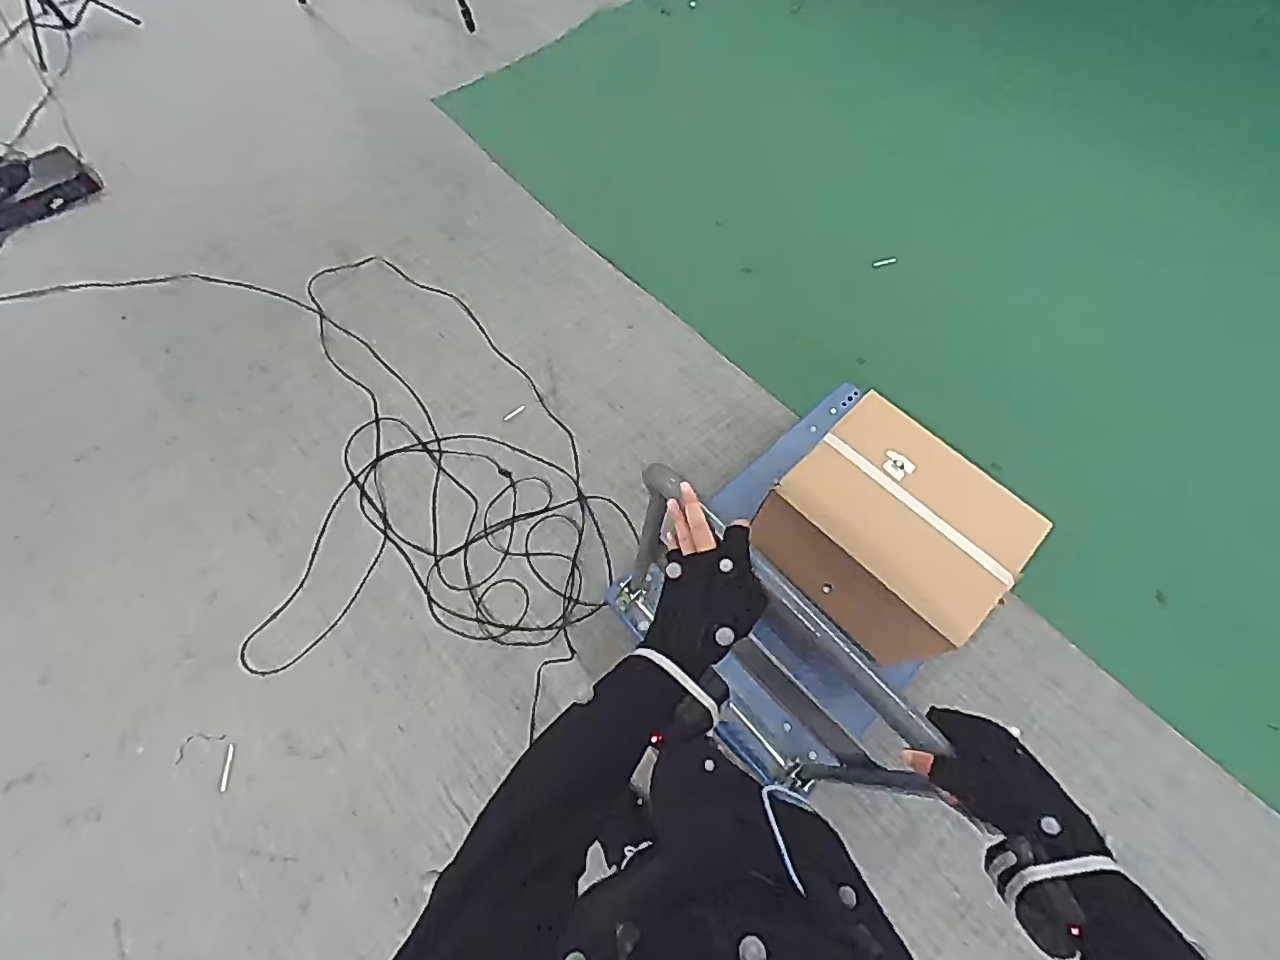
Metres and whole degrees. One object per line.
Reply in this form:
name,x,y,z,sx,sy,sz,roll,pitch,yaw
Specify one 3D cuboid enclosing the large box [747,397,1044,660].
large box,0.494,0.113,1.133,0.320,0.320,0.408,-42,72,-17
